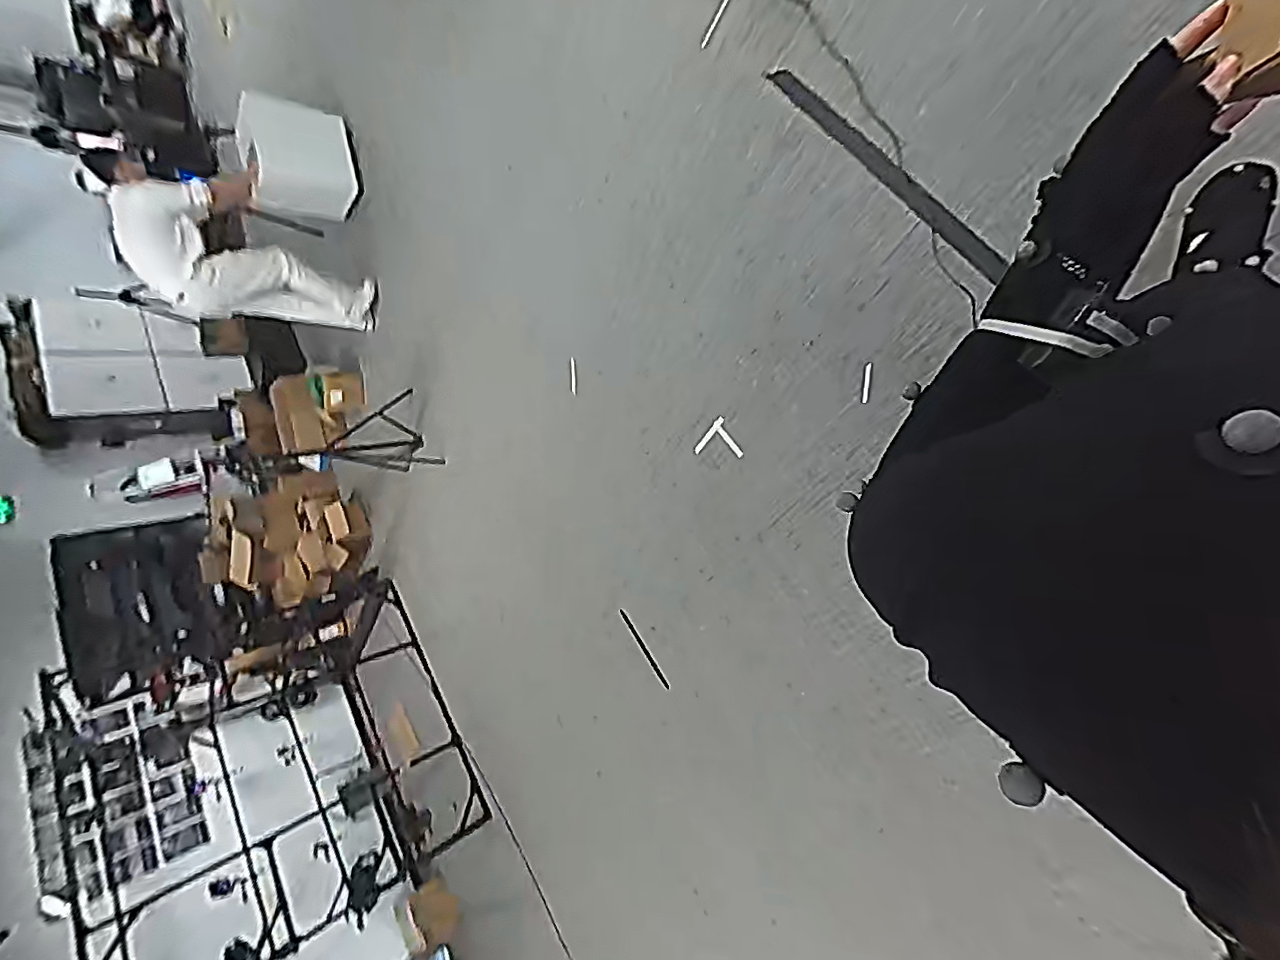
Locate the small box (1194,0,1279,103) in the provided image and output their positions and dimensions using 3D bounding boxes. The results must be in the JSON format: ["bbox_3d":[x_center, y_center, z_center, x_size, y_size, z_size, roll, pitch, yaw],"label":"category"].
[{"bbox_3d":[0.406,-0.298,0.225,0.179,0.168,0.176,2,104,17],"label":"small box"}]
